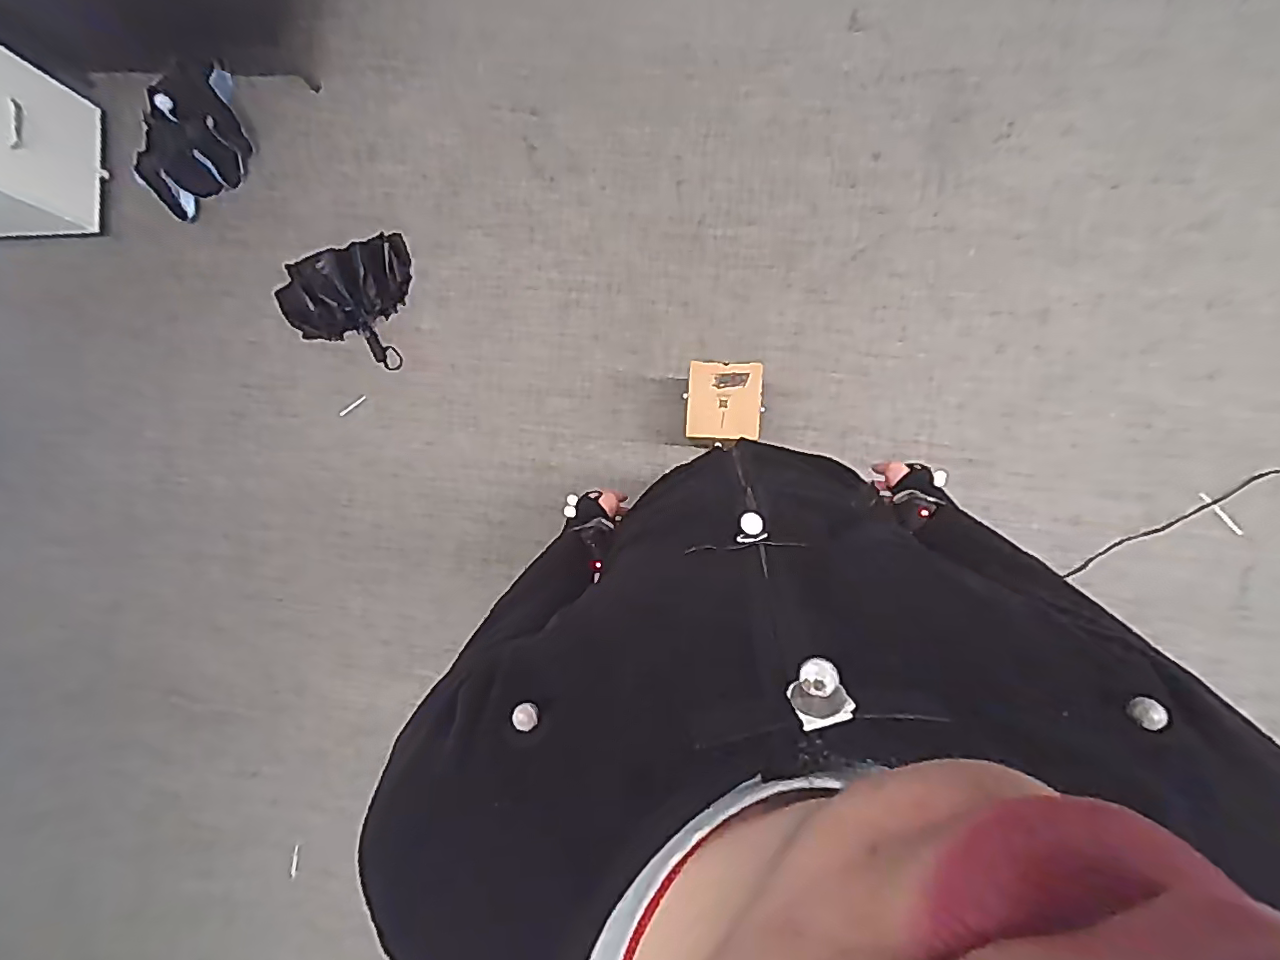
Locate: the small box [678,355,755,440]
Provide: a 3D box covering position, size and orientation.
[{"bbox_3d":[0.181,-0.195,1.311,0.168,0.176,0.179,4,91,7],"label":"small box"}]
